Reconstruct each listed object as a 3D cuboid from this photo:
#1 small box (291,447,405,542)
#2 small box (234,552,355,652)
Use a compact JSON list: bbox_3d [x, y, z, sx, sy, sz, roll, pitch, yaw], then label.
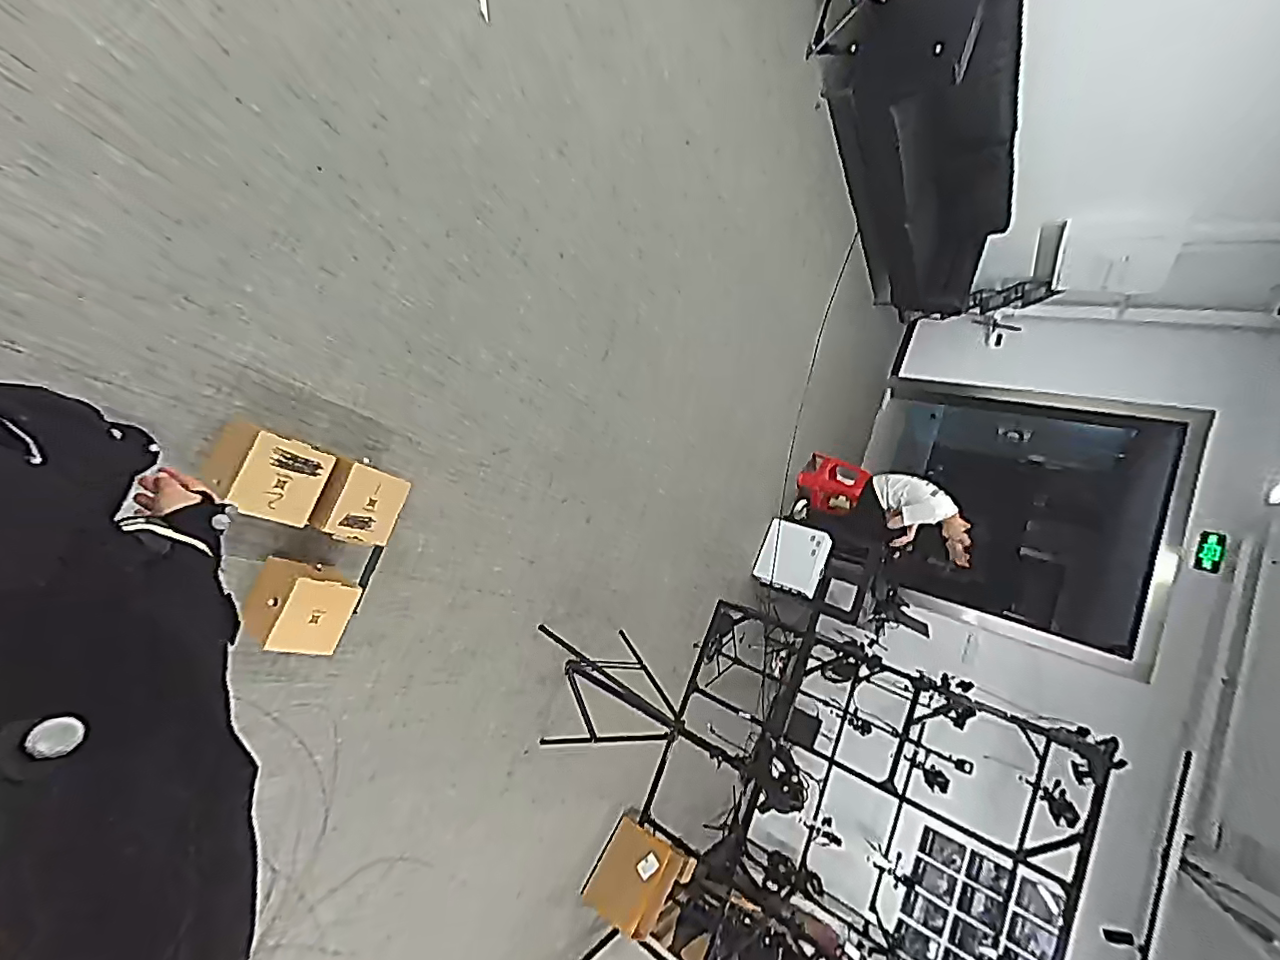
[{"bbox_3d":[-0.737,0.035,1.358,0.168,0.176,0.179,34,74,-54],"label":"small box"},{"bbox_3d":[-0.844,0.295,1.316,0.168,0.176,0.179,36,73,-54],"label":"small box"}]
